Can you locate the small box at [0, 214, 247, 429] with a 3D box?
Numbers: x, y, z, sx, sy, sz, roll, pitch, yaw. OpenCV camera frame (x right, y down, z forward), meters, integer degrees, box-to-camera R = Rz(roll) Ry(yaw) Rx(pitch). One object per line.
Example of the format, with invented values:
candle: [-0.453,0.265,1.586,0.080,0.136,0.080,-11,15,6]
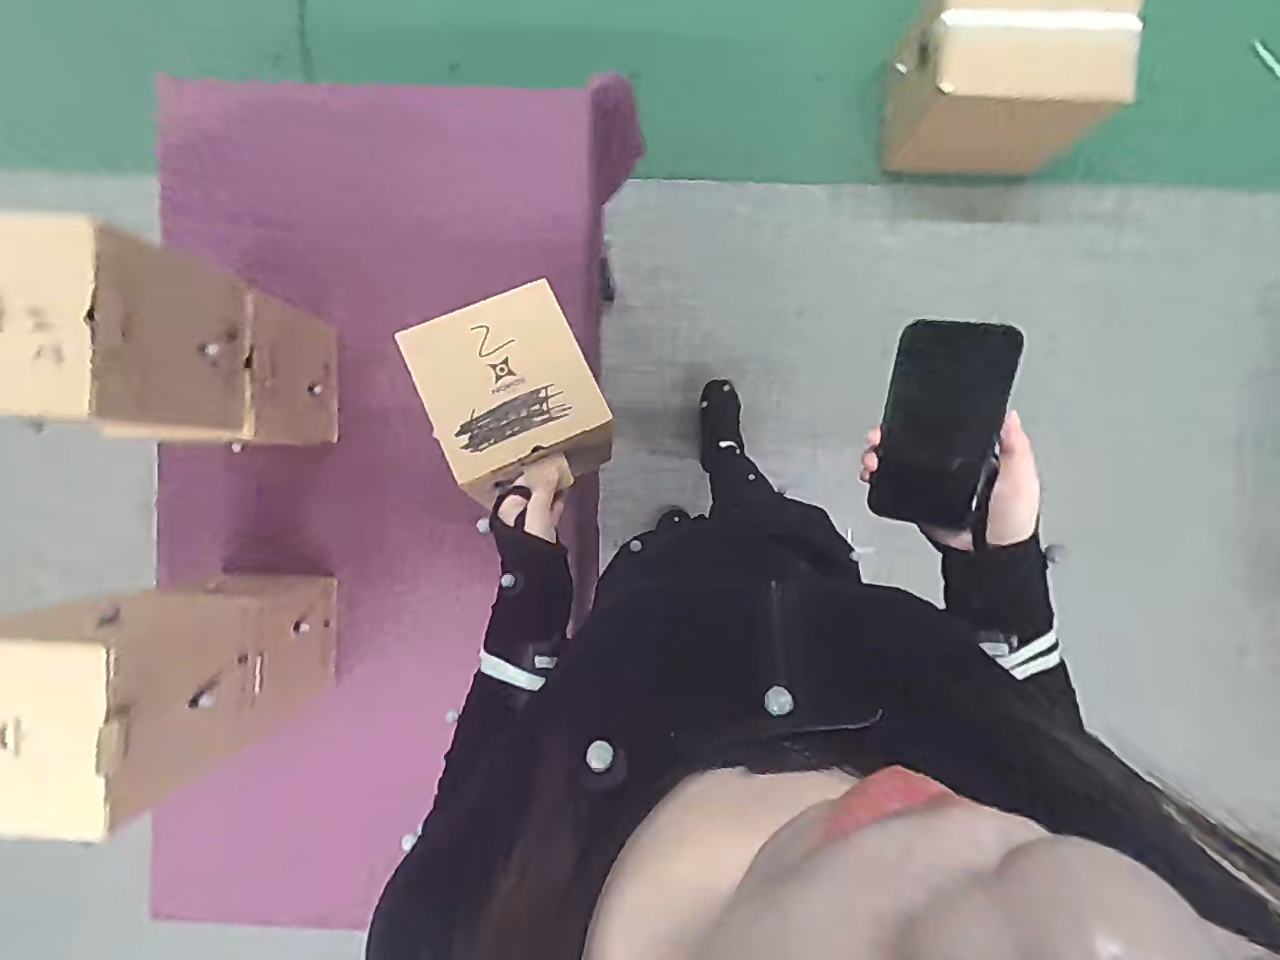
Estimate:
small box: [-0.531,-0.138,0.525,0.179,0.176,0.168,2,92,1]

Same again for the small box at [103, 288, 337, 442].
small box: [-0.521,-0.135,0.690,0.179,0.176,0.168,0,91,1]

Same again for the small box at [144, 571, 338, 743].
small box: [-0.520,0.215,0.698,0.179,0.176,0.168,2,90,2]

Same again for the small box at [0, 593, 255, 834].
small box: [-0.521,0.211,0.533,0.179,0.176,0.168,2,90,1]
